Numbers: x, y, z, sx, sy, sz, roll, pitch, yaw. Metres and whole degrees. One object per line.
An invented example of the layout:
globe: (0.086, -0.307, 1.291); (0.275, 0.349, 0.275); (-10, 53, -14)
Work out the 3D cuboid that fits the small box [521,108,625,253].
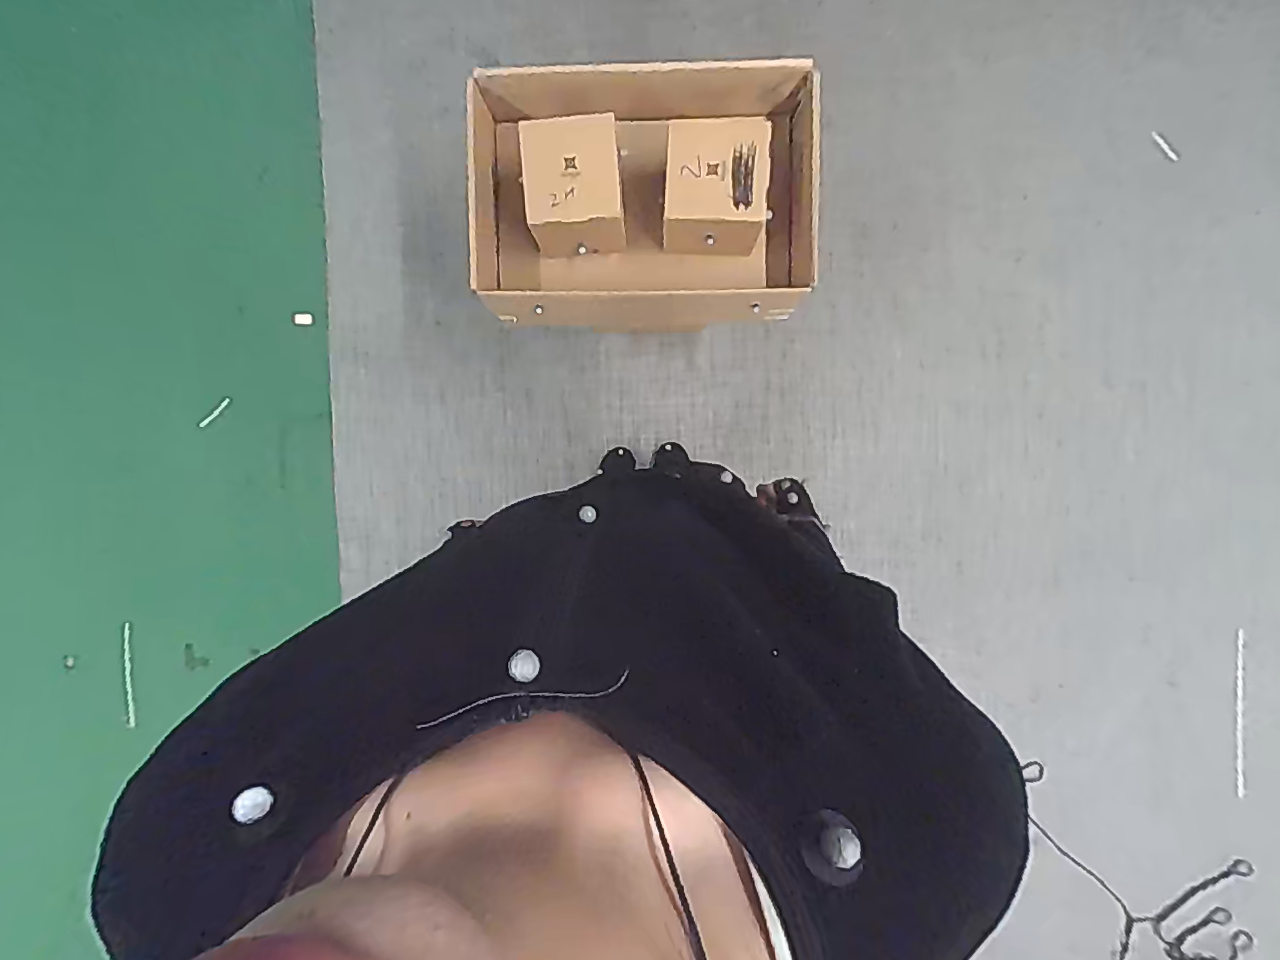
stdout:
small box: (-0.116, -0.539, 0.992); (0.168, 0.176, 0.179); (-4, 93, 2)
